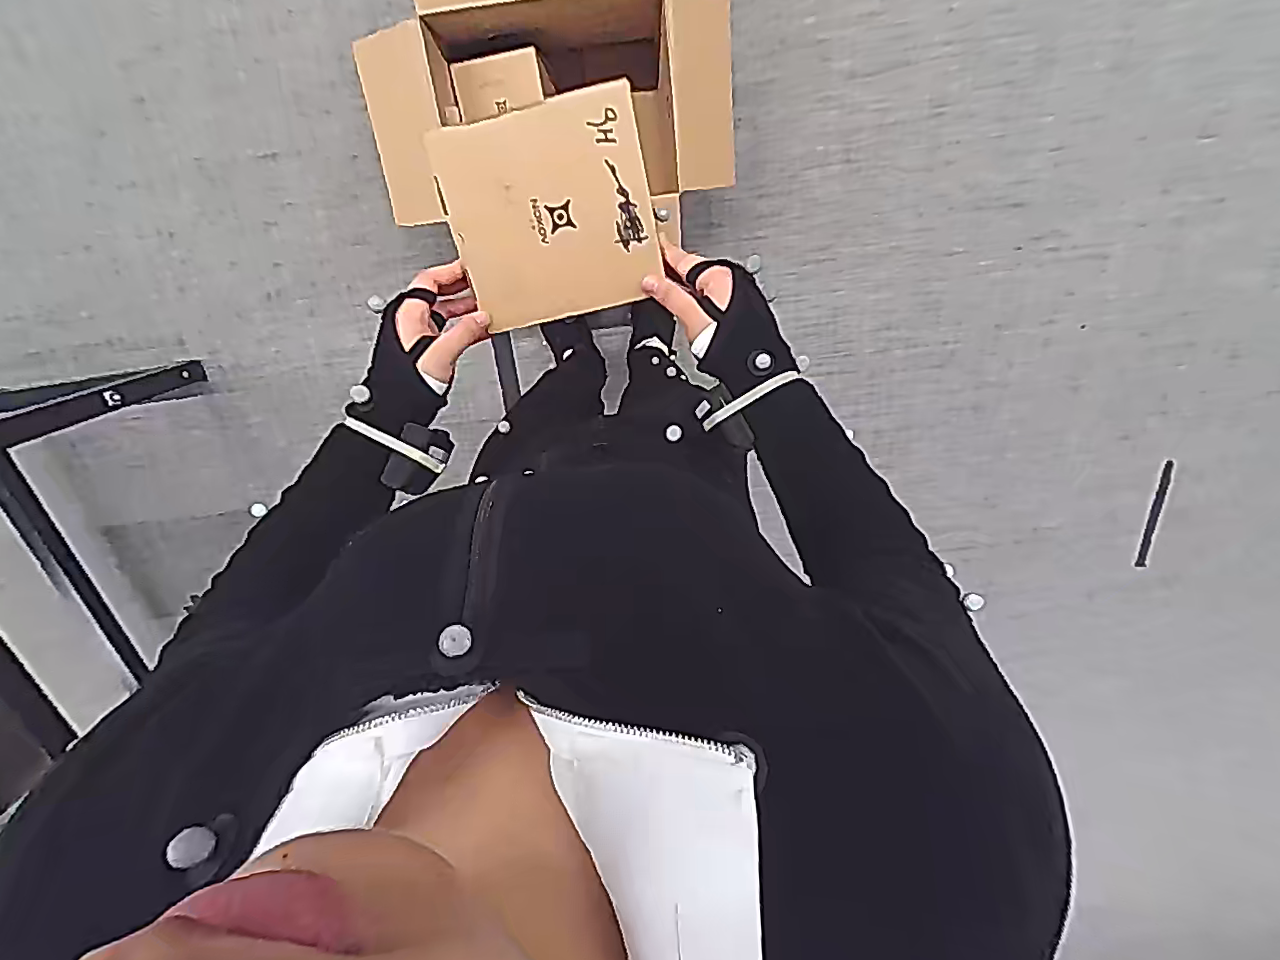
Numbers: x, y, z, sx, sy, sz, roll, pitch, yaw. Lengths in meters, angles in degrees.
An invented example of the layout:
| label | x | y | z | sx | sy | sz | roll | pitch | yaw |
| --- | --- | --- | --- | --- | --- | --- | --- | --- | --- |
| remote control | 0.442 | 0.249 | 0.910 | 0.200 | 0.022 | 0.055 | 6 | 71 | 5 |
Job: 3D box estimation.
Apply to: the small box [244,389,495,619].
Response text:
| label | x | y | z | sx | sy | sz | roll | pitch | yaw |
| --- | --- | --- | --- | --- | --- | --- | --- | --- | --- |
| small box | -0.239 | 0.024 | 0.511 | 0.168 | 0.176 | 0.179 | -7 | 83 | -8 |
